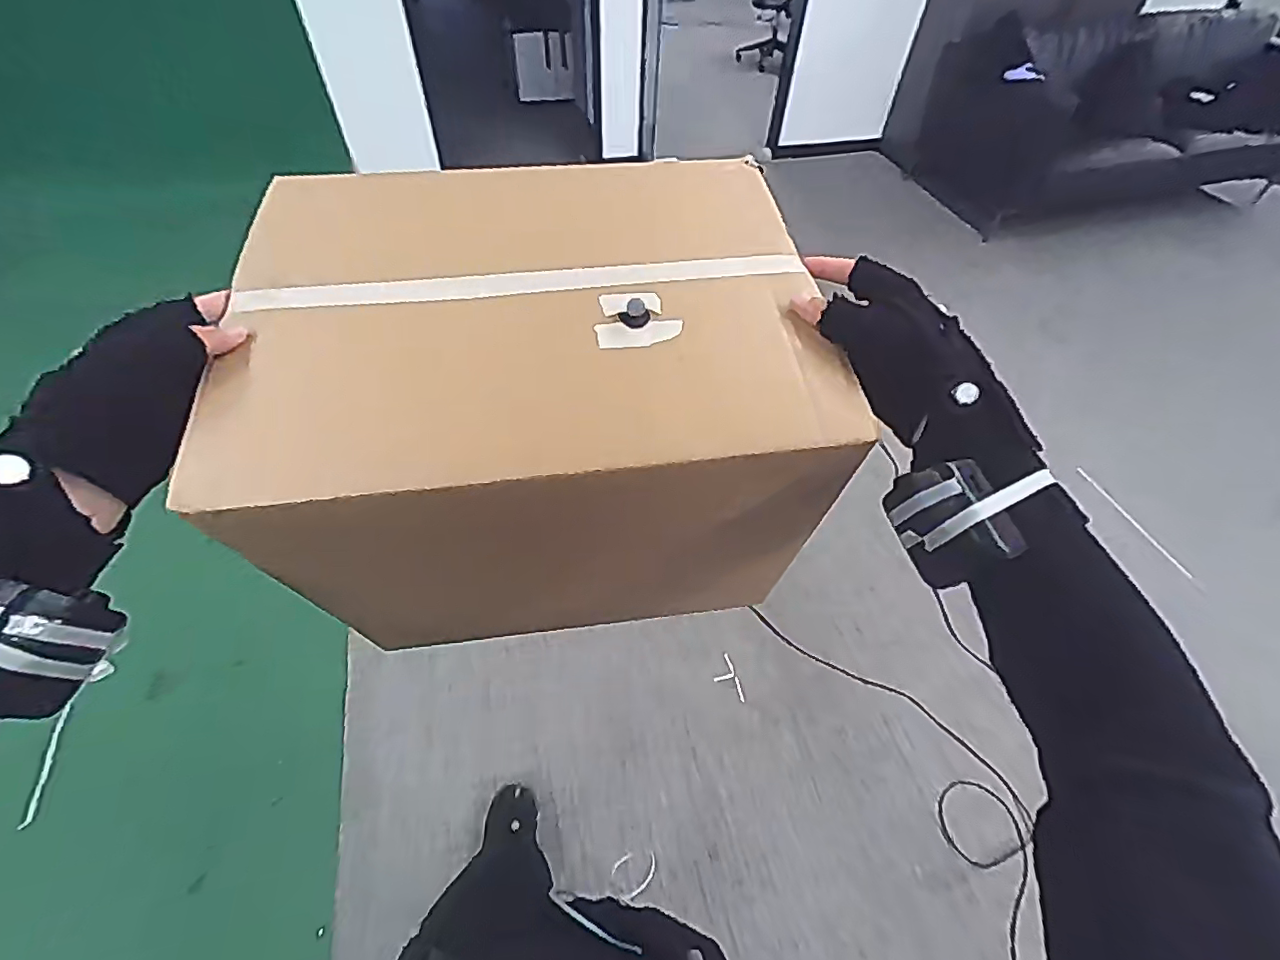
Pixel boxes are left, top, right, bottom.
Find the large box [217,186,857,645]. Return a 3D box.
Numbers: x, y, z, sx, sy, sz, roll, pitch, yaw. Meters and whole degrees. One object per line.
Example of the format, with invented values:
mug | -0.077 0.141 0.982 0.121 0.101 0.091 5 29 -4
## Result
large box | -0.080 -0.053 0.536 0.408 0.320 0.320 -5 59 -7
